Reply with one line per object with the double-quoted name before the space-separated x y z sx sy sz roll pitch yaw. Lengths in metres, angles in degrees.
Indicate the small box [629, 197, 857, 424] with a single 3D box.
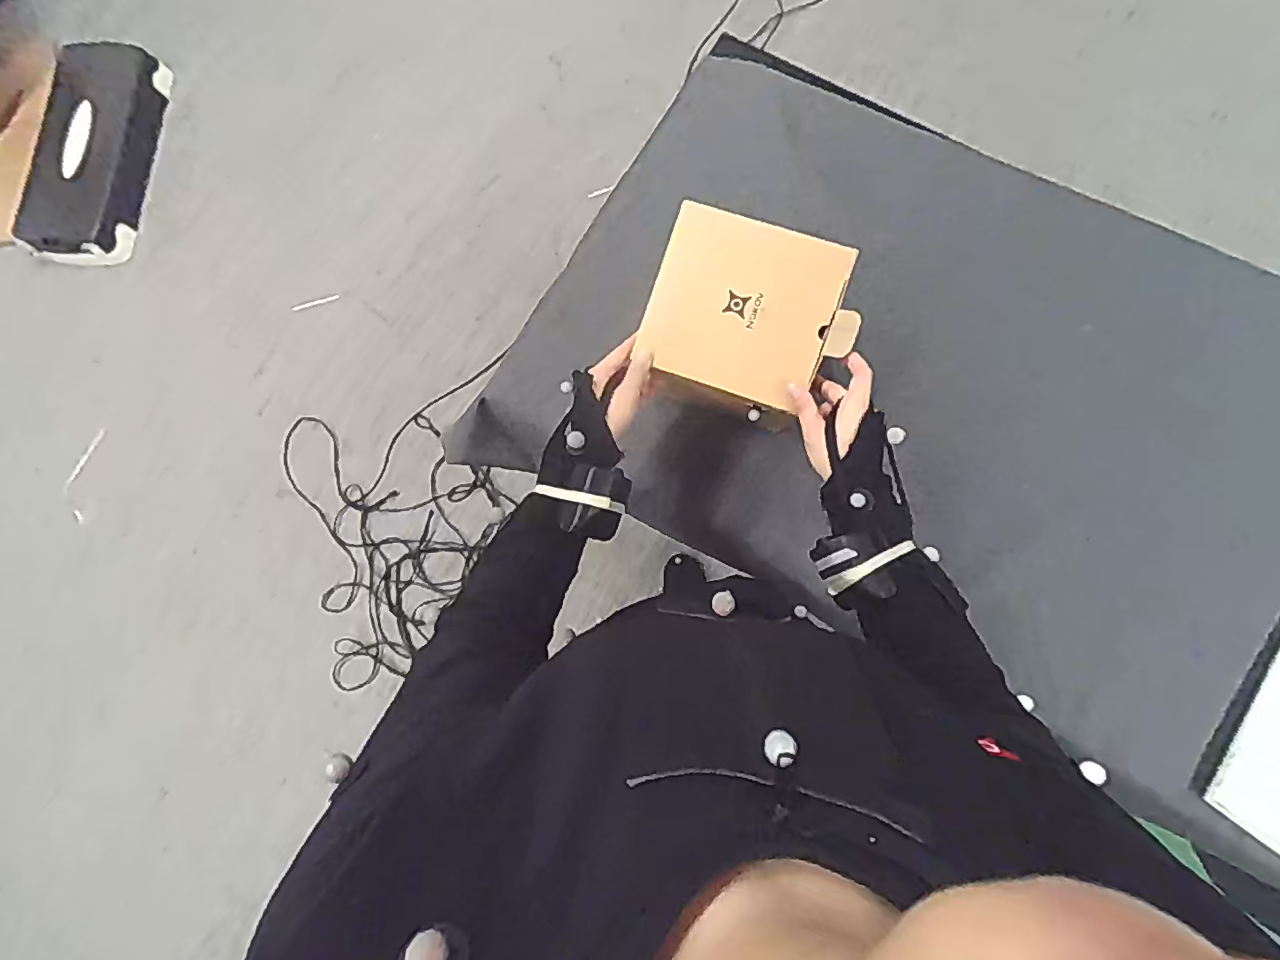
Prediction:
"small box" 0.104 -0.168 0.592 0.179 0.176 0.168 19 91 5
